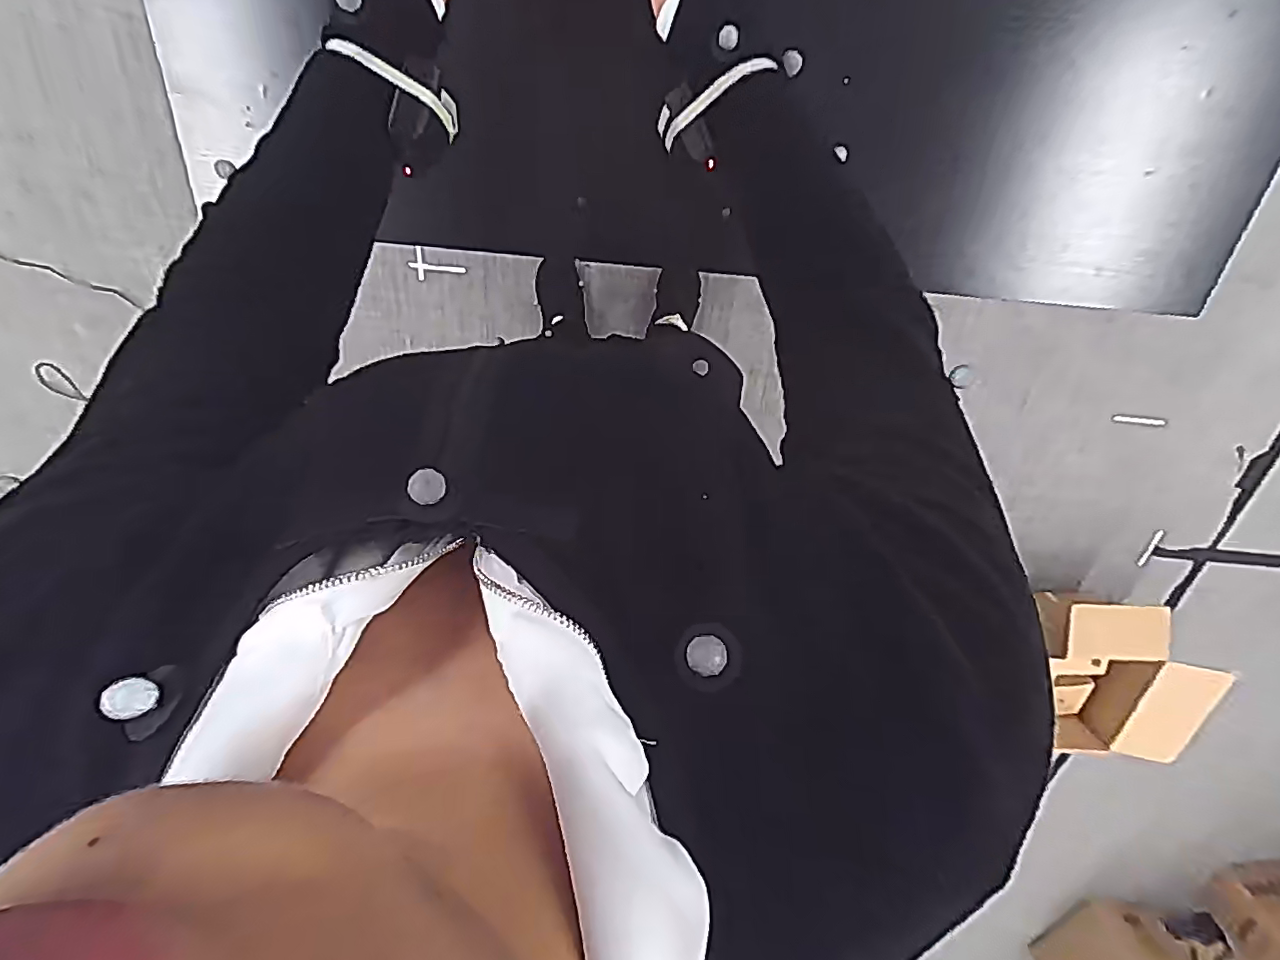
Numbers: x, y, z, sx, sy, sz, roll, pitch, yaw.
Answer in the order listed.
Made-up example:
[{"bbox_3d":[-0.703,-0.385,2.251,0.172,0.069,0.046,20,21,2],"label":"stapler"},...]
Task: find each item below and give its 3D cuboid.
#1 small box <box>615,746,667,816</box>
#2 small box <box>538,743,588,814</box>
[{"bbox_3d":[0.002,1.145,2.059,0.179,0.176,0.168,7,115,-3],"label":"small box"},{"bbox_3d":[-0.287,1.127,2.046,0.168,0.176,0.179,8,115,-6],"label":"small box"}]
